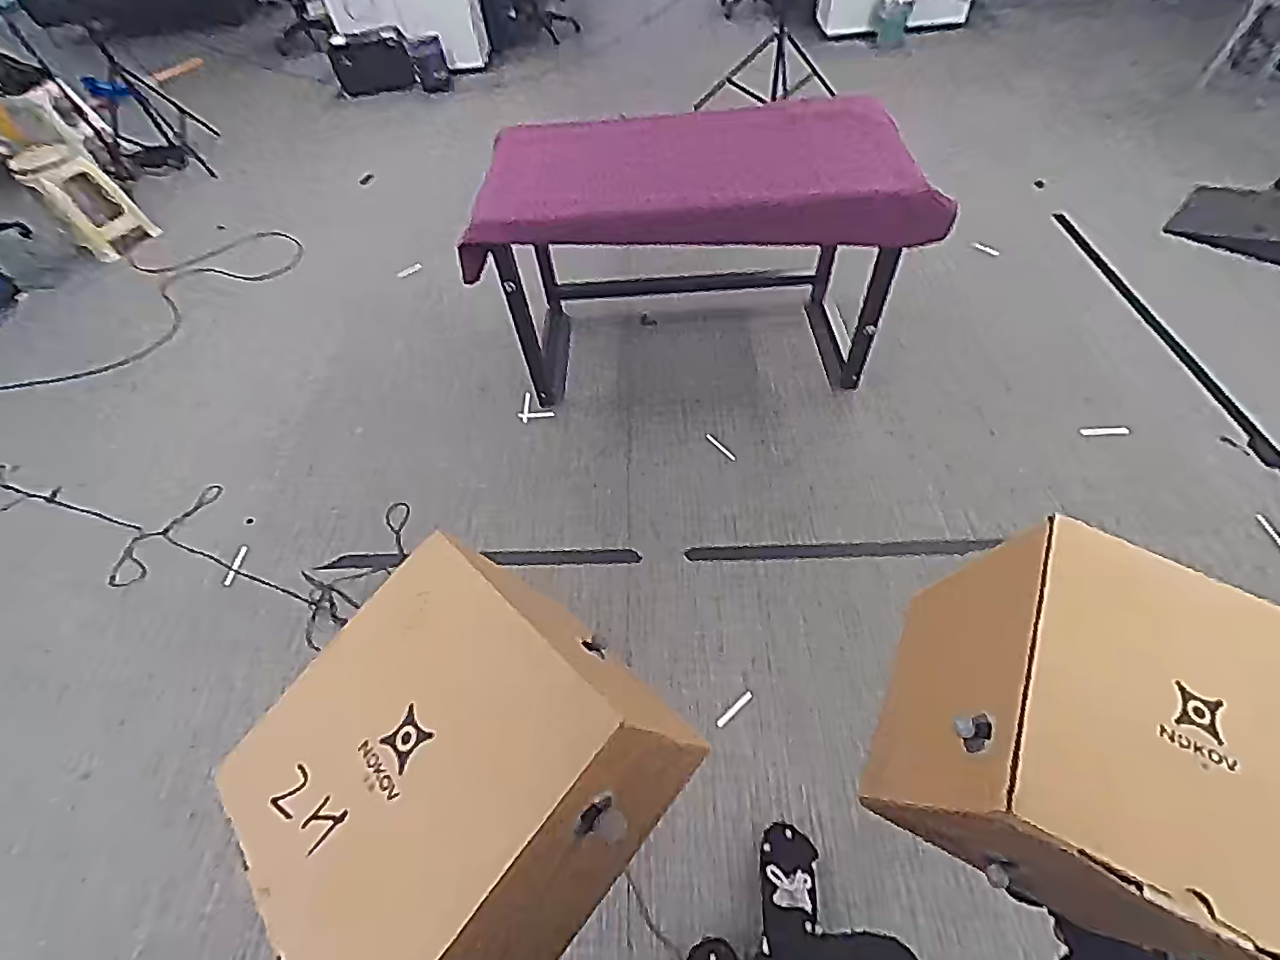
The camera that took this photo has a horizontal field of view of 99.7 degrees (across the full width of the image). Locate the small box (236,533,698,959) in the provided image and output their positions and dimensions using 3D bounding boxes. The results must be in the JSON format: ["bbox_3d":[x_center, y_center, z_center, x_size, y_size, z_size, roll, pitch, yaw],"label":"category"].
[{"bbox_3d":[-0.083,0.169,0.330,0.168,0.176,0.179,33,77,34],"label":"small box"}]

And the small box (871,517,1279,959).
[{"bbox_3d":[0.274,0.159,0.344,0.168,0.176,0.179,25,64,9],"label":"small box"}]
